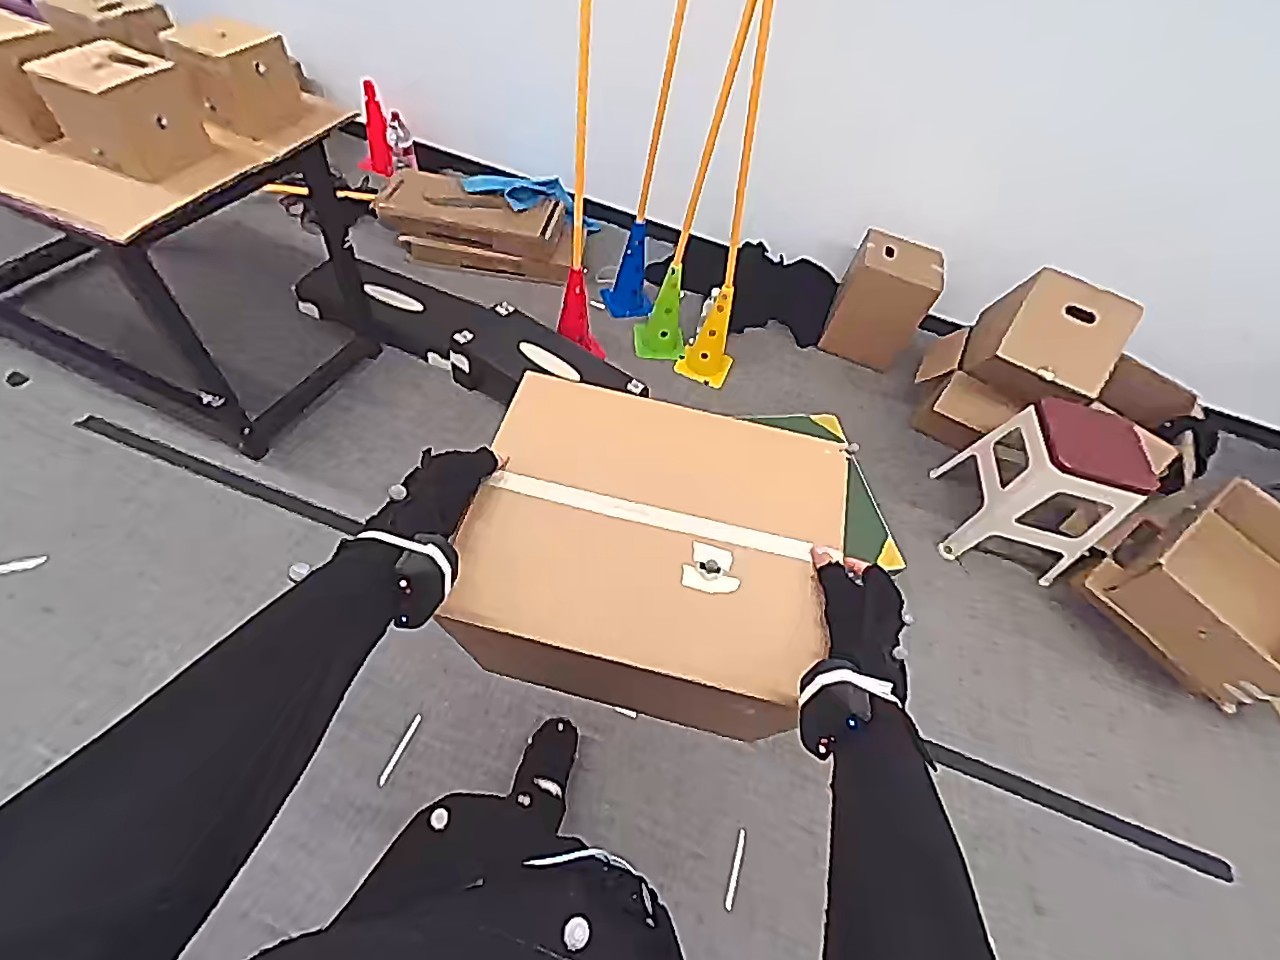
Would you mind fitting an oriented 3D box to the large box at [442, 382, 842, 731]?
[{"bbox_3d":[0.013,0.118,0.735,0.408,0.320,0.320,14,61,3],"label":"large box"}]
